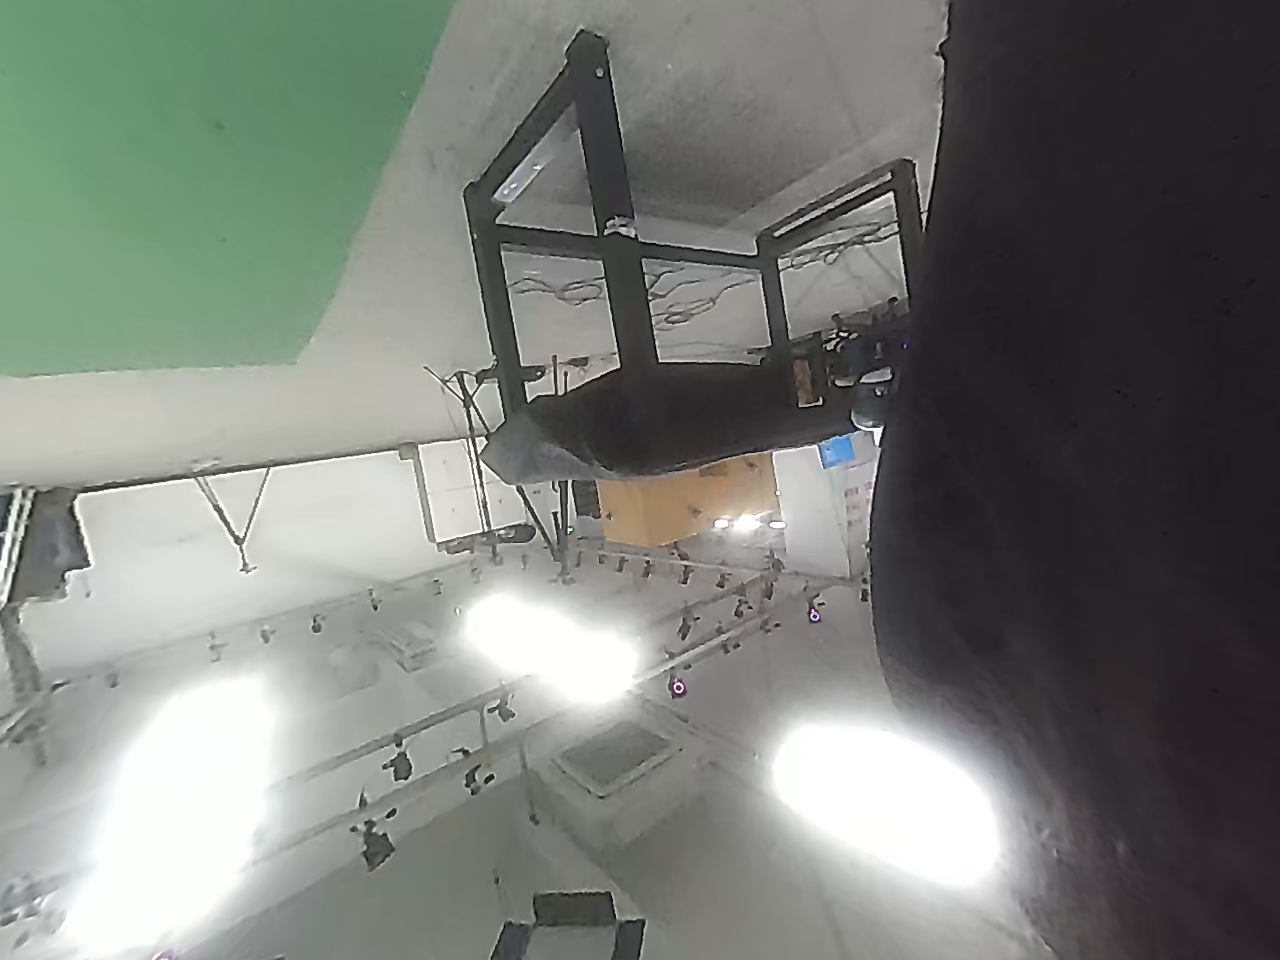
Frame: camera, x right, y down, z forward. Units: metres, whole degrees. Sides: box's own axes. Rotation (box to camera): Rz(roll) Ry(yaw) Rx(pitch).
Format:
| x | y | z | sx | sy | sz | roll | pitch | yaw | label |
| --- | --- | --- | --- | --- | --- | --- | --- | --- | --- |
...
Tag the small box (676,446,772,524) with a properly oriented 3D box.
| x | y | z | sx | sy | sz | roll | pitch | yaw | label |
| --- | --- | --- | --- | --- | --- | --- | --- | --- | --- |
| 0.205 | 0.010 | 1.354 | 0.168 | 0.176 | 0.179 | -13 | -175 | -37 | small box |
